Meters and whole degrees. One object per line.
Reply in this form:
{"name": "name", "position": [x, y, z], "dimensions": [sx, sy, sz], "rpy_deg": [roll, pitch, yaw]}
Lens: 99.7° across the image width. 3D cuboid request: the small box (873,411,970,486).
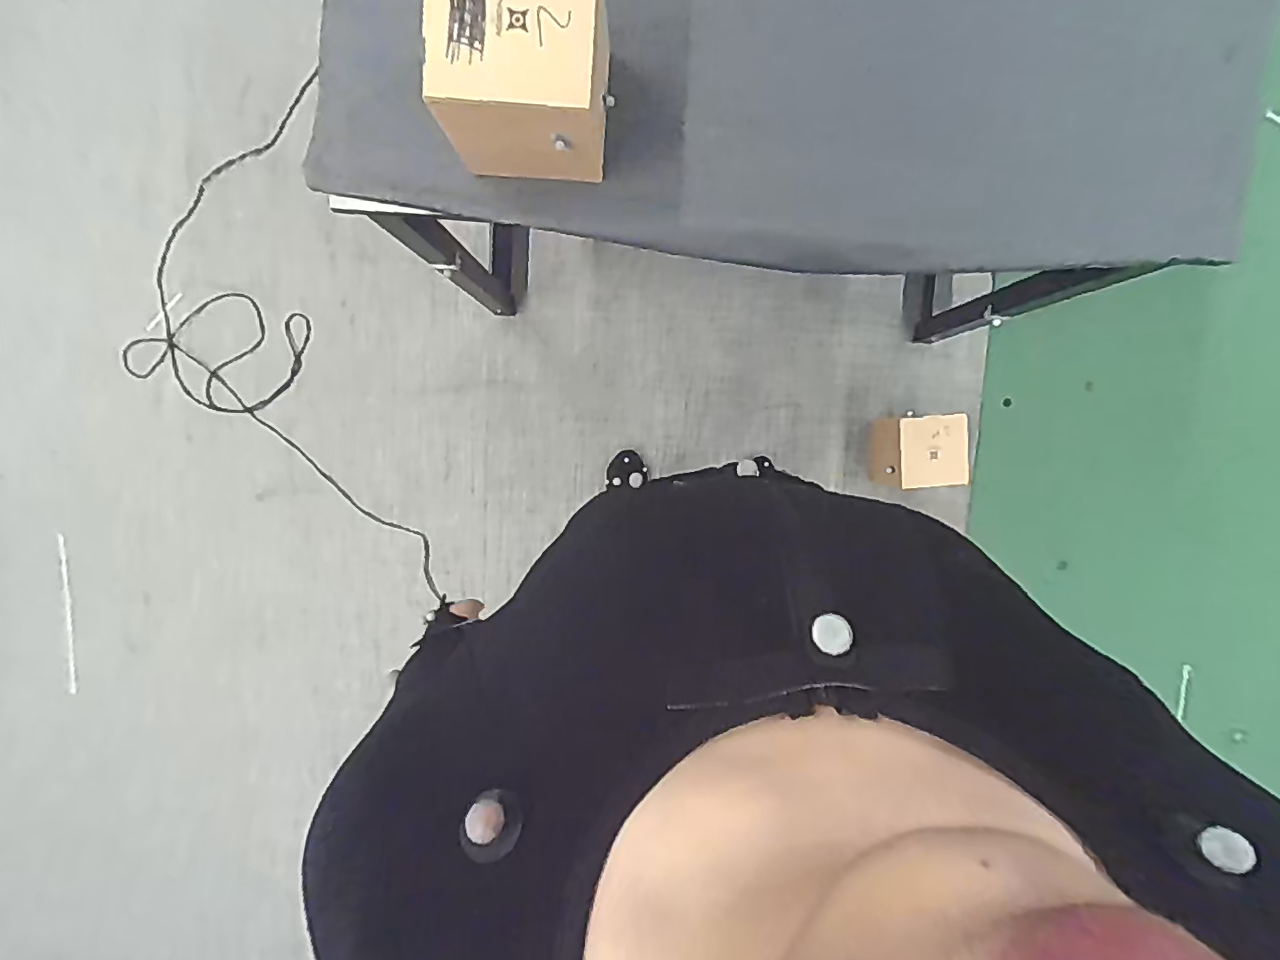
{"name": "small box", "position": [0.711, -0.084, 1.379], "dimensions": [0.168, 0.176, 0.179], "rpy_deg": [-4, 95, 1]}
